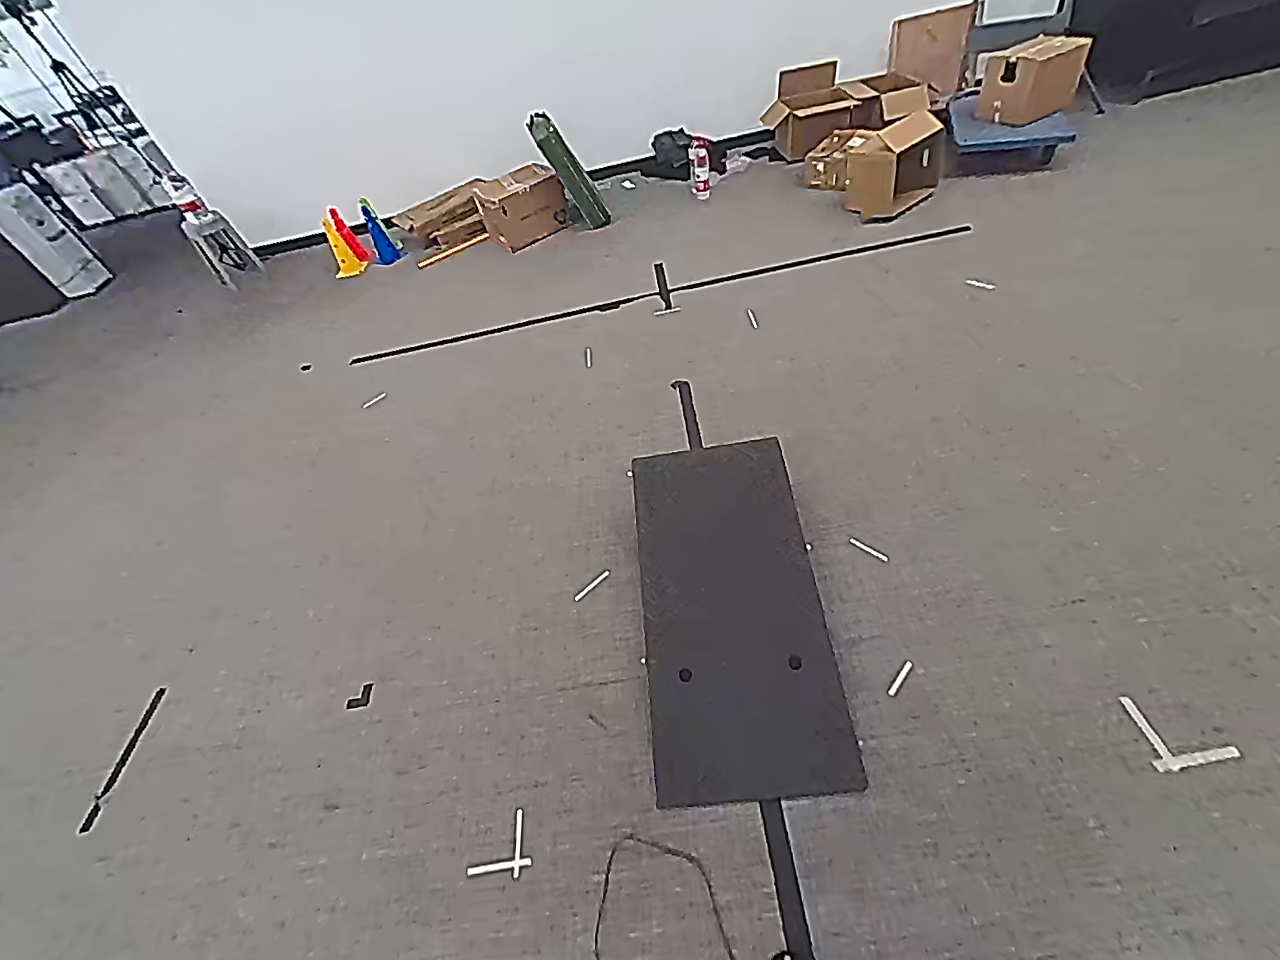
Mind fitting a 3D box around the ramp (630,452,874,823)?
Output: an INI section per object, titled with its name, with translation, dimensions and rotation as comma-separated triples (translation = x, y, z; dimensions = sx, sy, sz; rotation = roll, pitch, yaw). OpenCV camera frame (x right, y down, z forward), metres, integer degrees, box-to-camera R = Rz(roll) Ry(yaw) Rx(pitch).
[ramp]
translation = 0.255, 0.360, 1.531
dimensions = 0.509, 0.206, 0.991
rotation = -11, 46, 4
